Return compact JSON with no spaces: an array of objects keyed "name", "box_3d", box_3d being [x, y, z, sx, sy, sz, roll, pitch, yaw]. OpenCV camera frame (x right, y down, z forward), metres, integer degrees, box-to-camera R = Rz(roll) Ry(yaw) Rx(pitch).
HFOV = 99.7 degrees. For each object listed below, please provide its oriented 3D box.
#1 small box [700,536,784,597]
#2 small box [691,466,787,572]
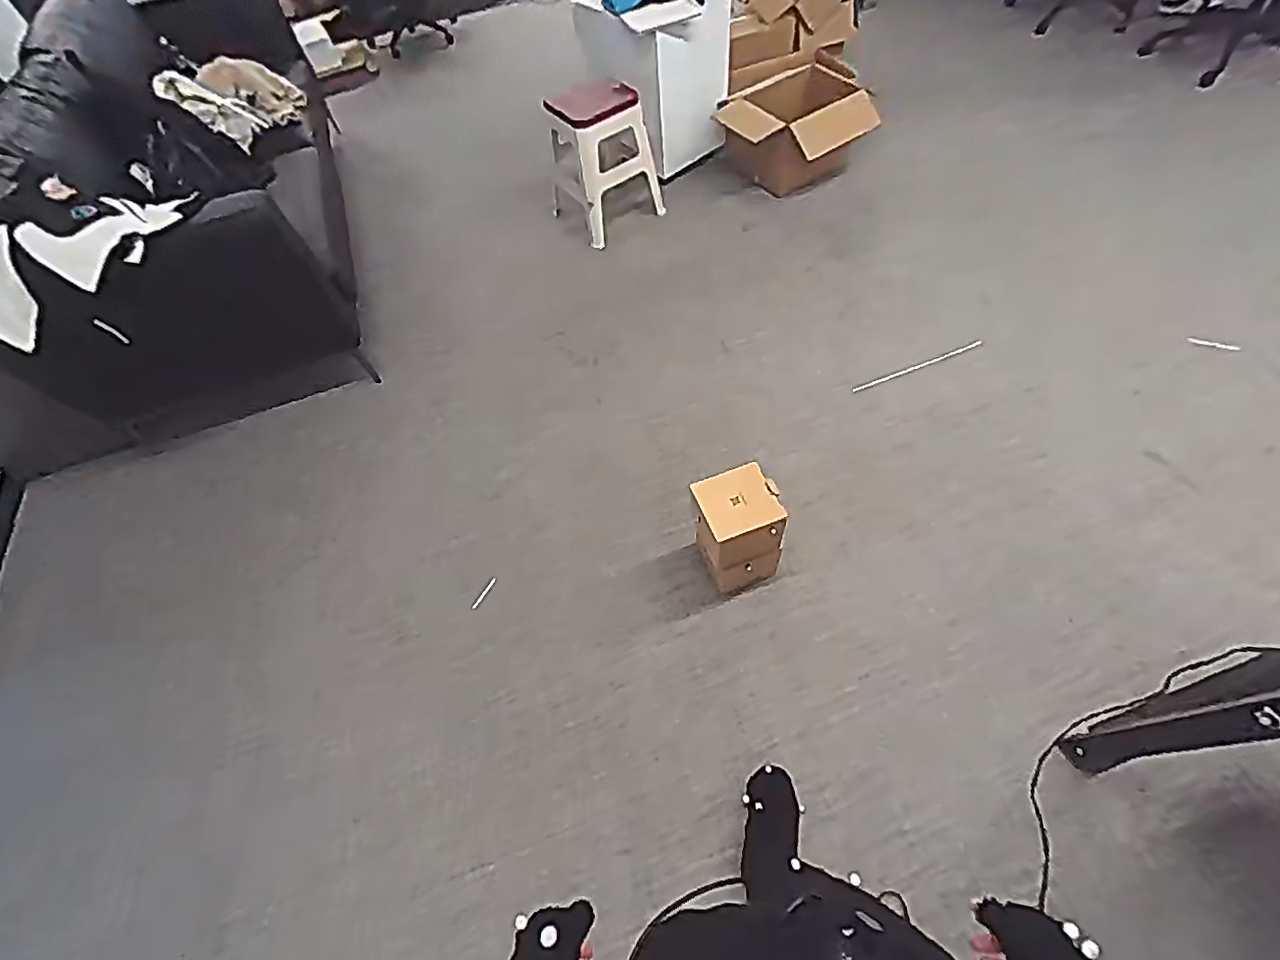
[{"name":"small box","box_3d":[0.266,0.186,1.455,0.168,0.176,0.179,-20,57,-6]},{"name":"small box","box_3d":[0.236,0.101,1.318,0.179,0.176,0.168,-20,58,-6]}]
